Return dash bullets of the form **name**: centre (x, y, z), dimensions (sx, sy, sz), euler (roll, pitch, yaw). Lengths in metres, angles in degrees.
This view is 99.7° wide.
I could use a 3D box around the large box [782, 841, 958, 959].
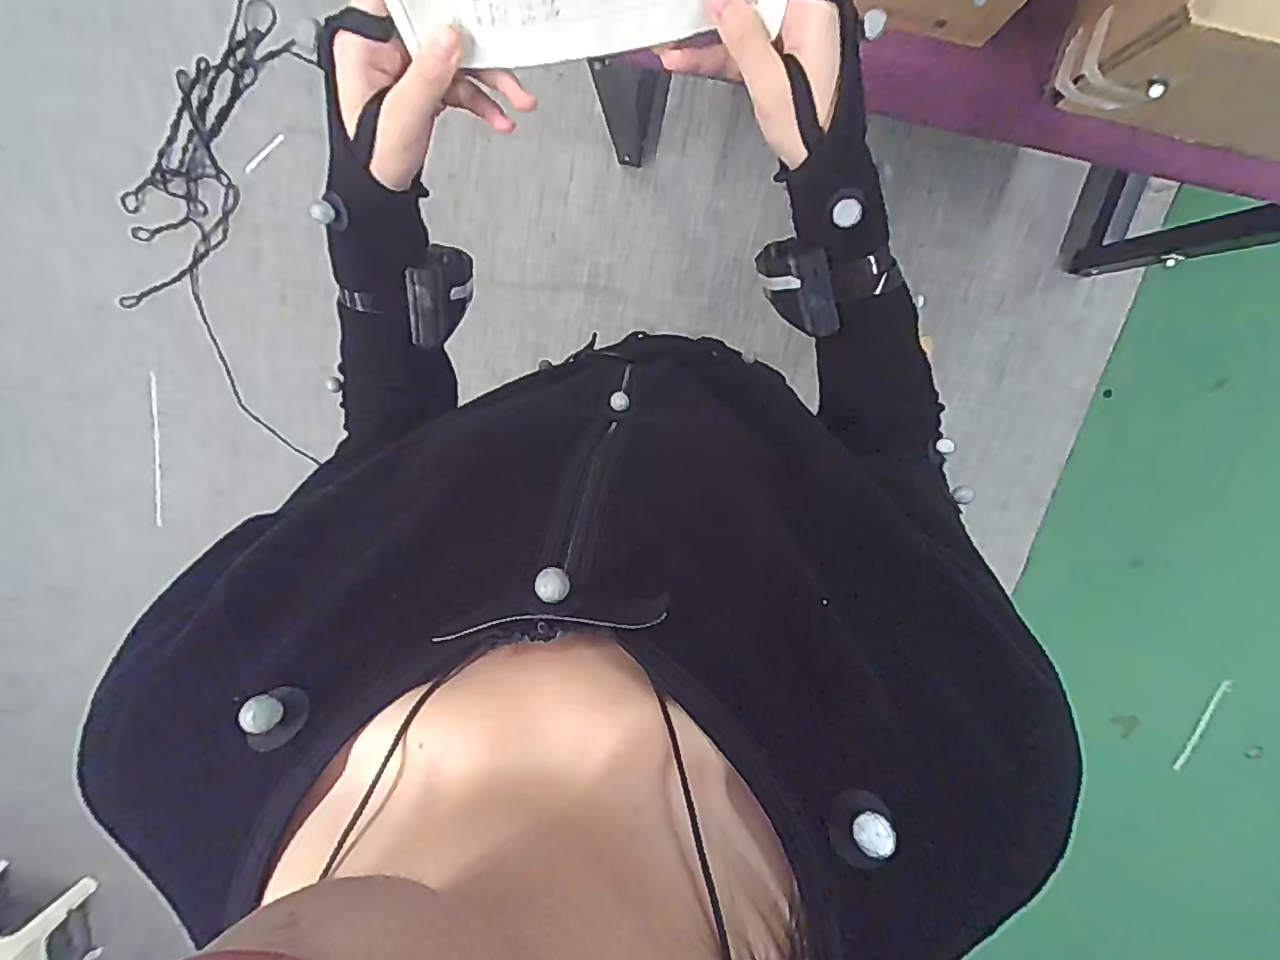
- **large box**: centre (0.658, 1.338, 1.620), dimensions (0.408, 0.320, 0.320), euler (-1, 103, 3)
